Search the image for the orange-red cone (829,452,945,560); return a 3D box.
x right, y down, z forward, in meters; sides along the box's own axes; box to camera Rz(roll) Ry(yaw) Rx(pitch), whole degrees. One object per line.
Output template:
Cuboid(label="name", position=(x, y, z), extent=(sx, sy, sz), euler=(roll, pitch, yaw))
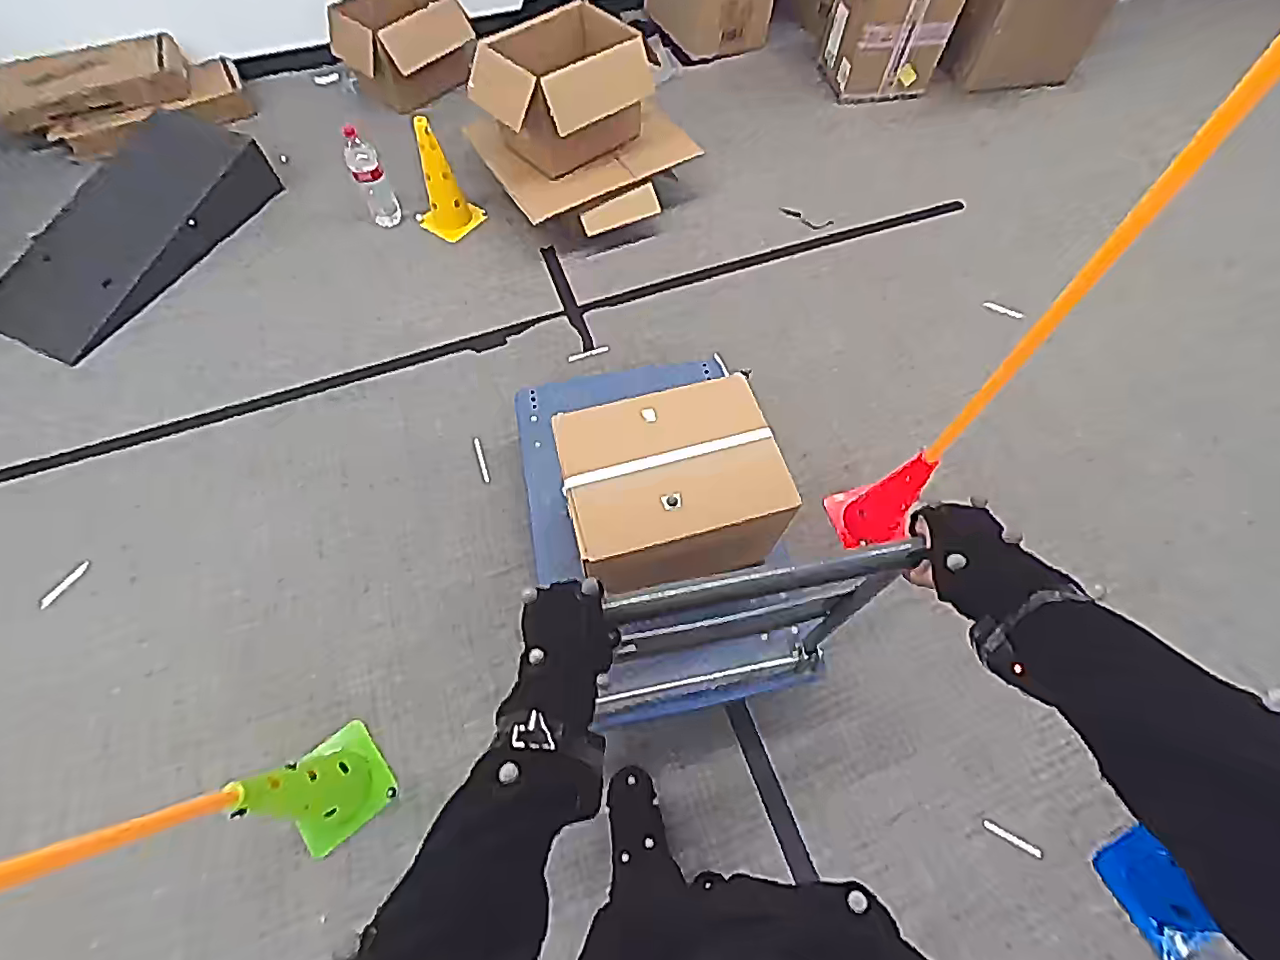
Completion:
Cuboid(label="orange-red cone", position=(0.636, 0.033, 1.317), extent=(0.199, 0.360, 0.198), euler=(-12, 64, -8))

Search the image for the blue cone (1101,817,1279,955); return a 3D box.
Cuboid(label="blue cone", position=(1.073, 0.750, 0.962), extent=(0.193, 0.380, 0.192), euler=(-22, 64, -12))
